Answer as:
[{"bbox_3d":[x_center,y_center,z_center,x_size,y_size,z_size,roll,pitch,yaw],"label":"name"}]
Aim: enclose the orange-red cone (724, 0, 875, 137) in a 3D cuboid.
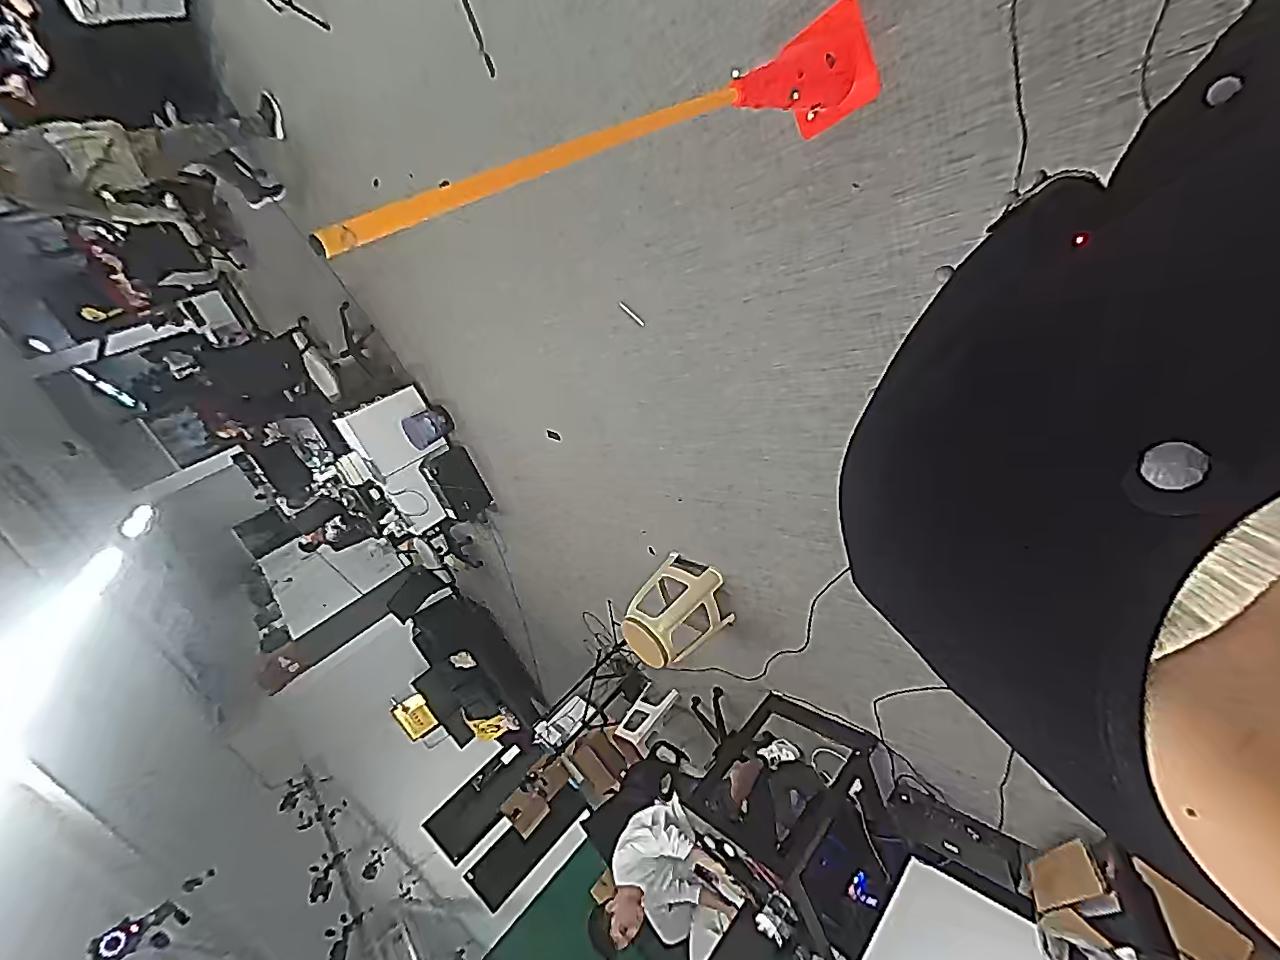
[{"bbox_3d":[0.290,-0.812,1.102,0.199,0.360,0.198,-2,120,52],"label":"orange-red cone"}]
